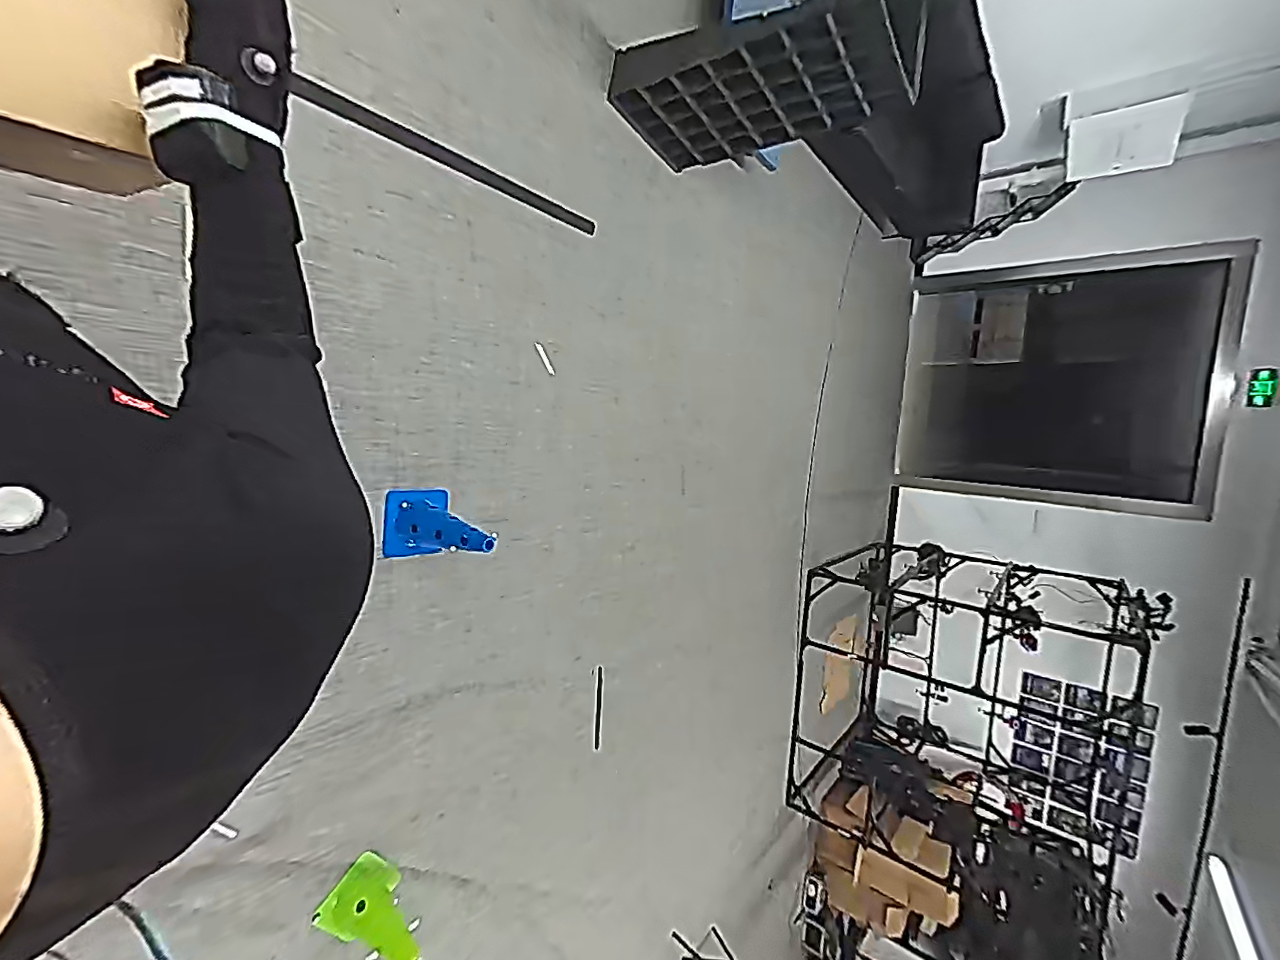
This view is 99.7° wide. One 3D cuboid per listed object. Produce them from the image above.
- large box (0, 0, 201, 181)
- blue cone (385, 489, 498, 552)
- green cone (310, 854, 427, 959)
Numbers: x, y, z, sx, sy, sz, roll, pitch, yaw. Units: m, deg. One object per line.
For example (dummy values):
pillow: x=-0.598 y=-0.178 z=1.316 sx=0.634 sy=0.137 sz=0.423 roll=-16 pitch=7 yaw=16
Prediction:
large box: x=-0.568 y=-0.422 z=0.328 sx=0.408 sy=0.320 sz=0.320 roll=-7 pitch=111 yaw=-53
blue cone: x=-0.543 y=0.139 z=1.531 sx=0.192 sy=0.380 sz=0.193 roll=3 pitch=95 yaw=-53
green cone: x=-0.705 y=1.259 z=1.500 sx=0.202 sy=0.368 sz=0.200 roll=-51 pitch=134 yaw=-36
